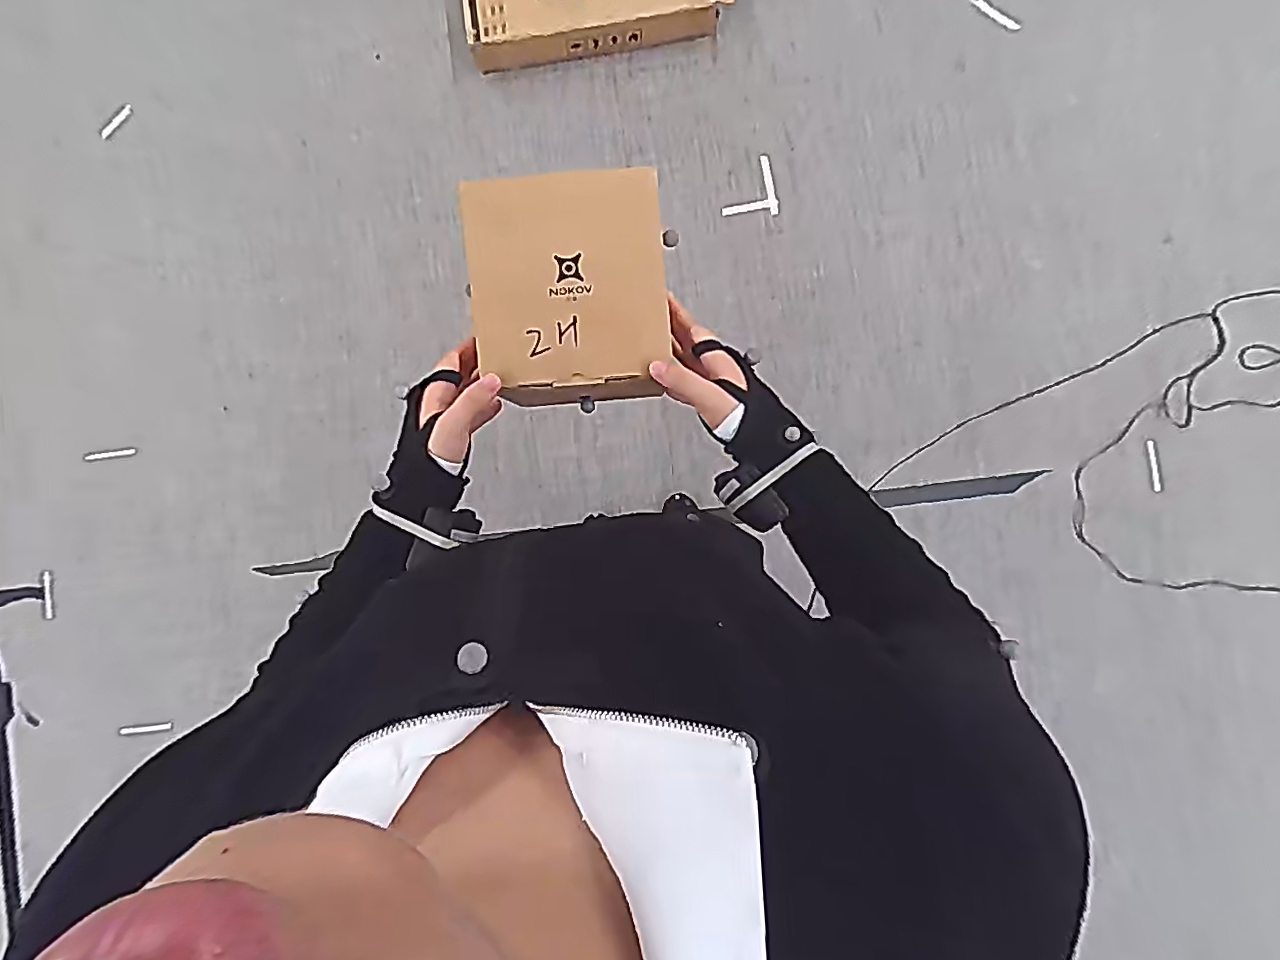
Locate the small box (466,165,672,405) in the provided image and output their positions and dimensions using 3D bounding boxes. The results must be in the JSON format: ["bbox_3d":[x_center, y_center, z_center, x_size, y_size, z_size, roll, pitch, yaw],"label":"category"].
[{"bbox_3d":[-0.061,-0.175,0.533,0.168,0.176,0.179,-5,92,0],"label":"small box"}]
